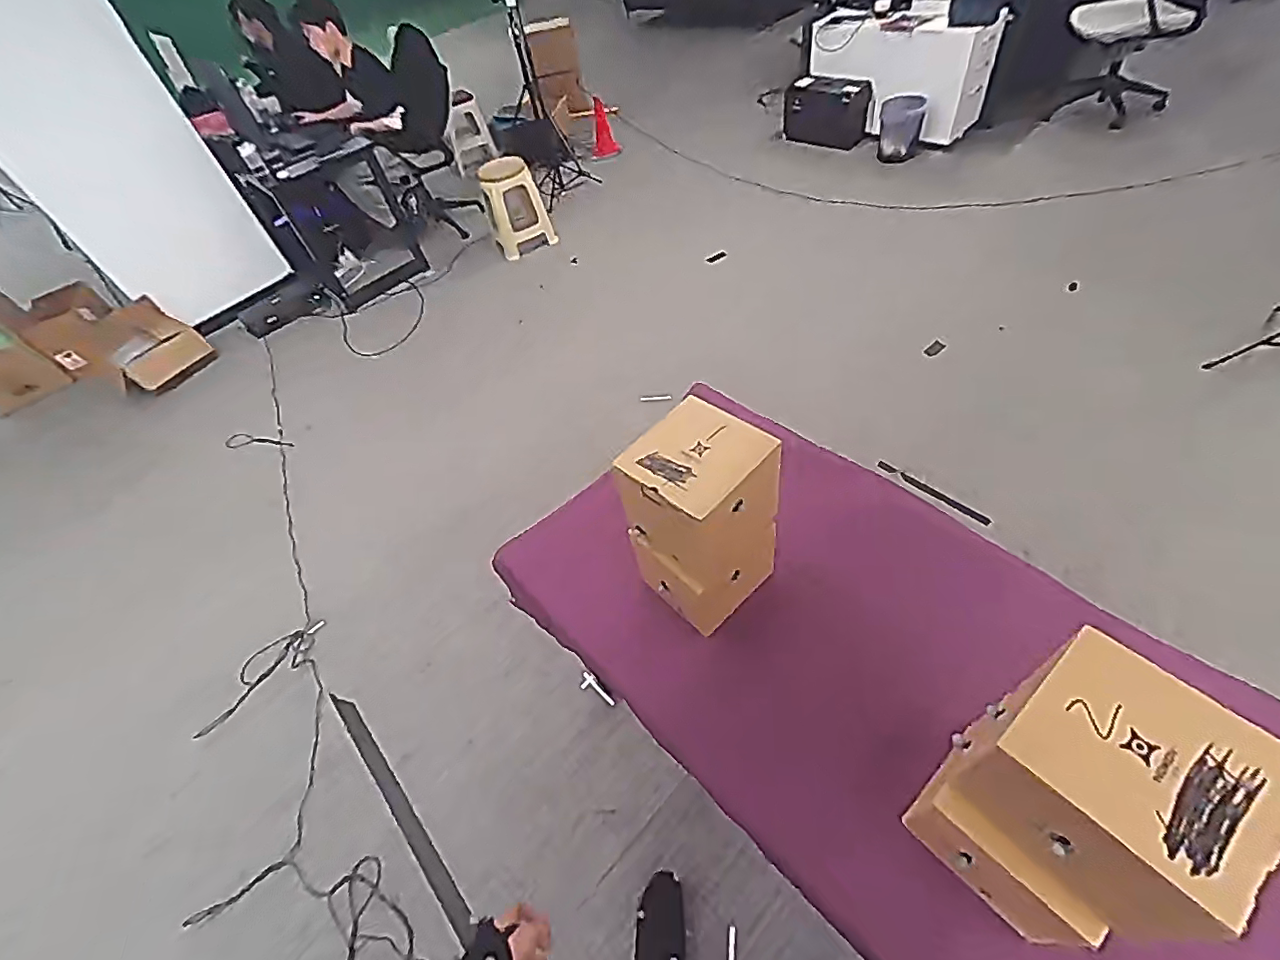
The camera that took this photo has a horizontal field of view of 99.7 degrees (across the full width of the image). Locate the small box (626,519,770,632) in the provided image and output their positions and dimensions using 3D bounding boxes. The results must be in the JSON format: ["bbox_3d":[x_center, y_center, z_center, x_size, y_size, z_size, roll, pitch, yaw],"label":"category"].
[{"bbox_3d":[0.104,0.126,0.925,0.179,0.176,0.168,-38,55,-19],"label":"small box"}]

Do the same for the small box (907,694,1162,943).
[{"bbox_3d":[0.445,0.399,0.642,0.179,0.176,0.168,-38,54,-20],"label":"small box"}]

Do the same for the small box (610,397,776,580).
[{"bbox_3d":[0.085,0.015,0.805,0.168,0.176,0.179,34,64,31],"label":"small box"}]
